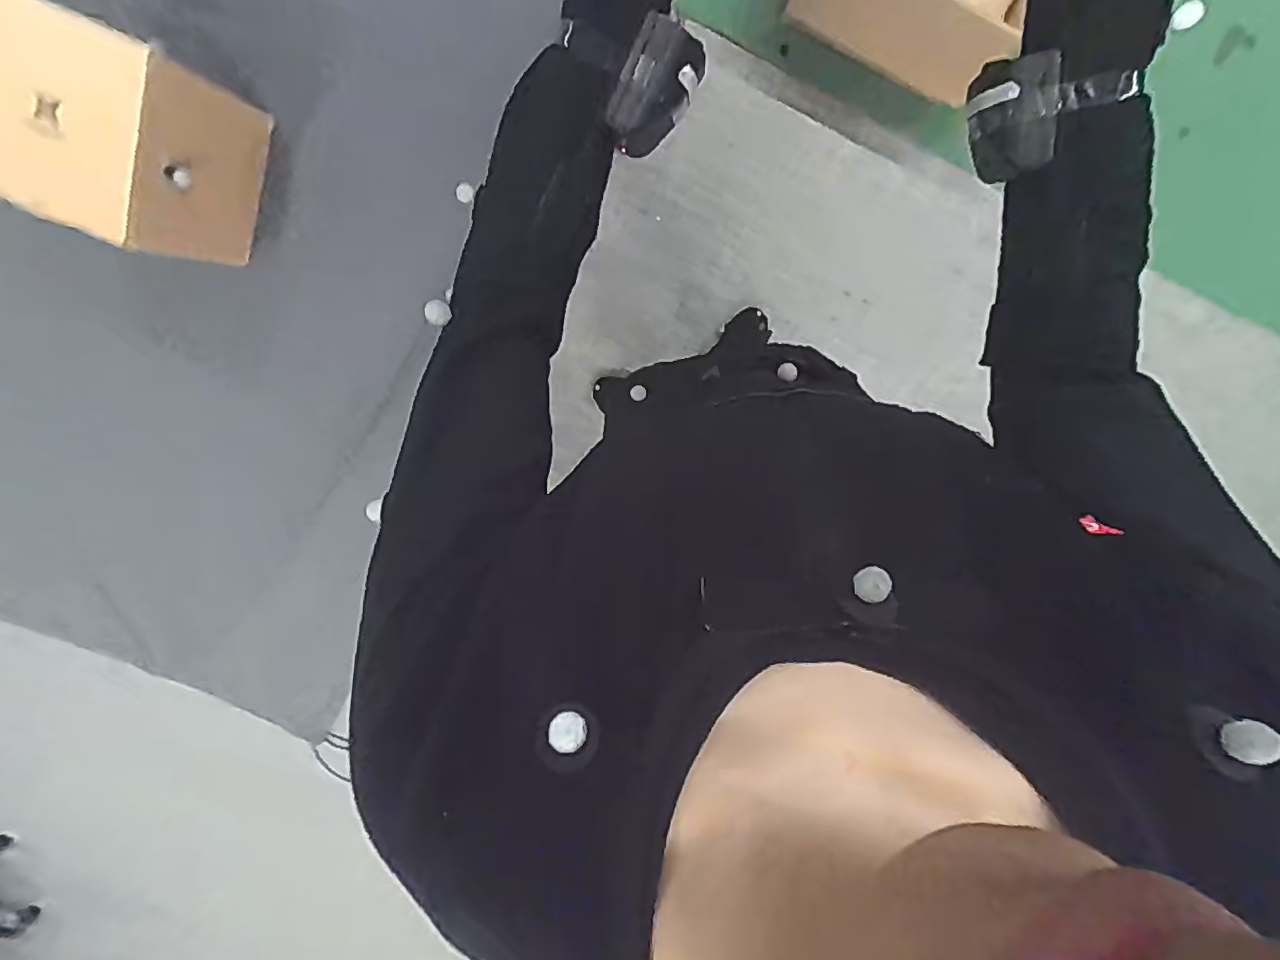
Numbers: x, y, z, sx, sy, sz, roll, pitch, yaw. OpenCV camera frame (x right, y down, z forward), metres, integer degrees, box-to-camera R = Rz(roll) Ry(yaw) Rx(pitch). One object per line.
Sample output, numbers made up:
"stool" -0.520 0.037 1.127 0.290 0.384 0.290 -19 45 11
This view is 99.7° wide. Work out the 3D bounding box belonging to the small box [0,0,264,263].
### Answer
"small box" -0.535 -0.347 0.563 0.168 0.176 0.179 21 106 -5
